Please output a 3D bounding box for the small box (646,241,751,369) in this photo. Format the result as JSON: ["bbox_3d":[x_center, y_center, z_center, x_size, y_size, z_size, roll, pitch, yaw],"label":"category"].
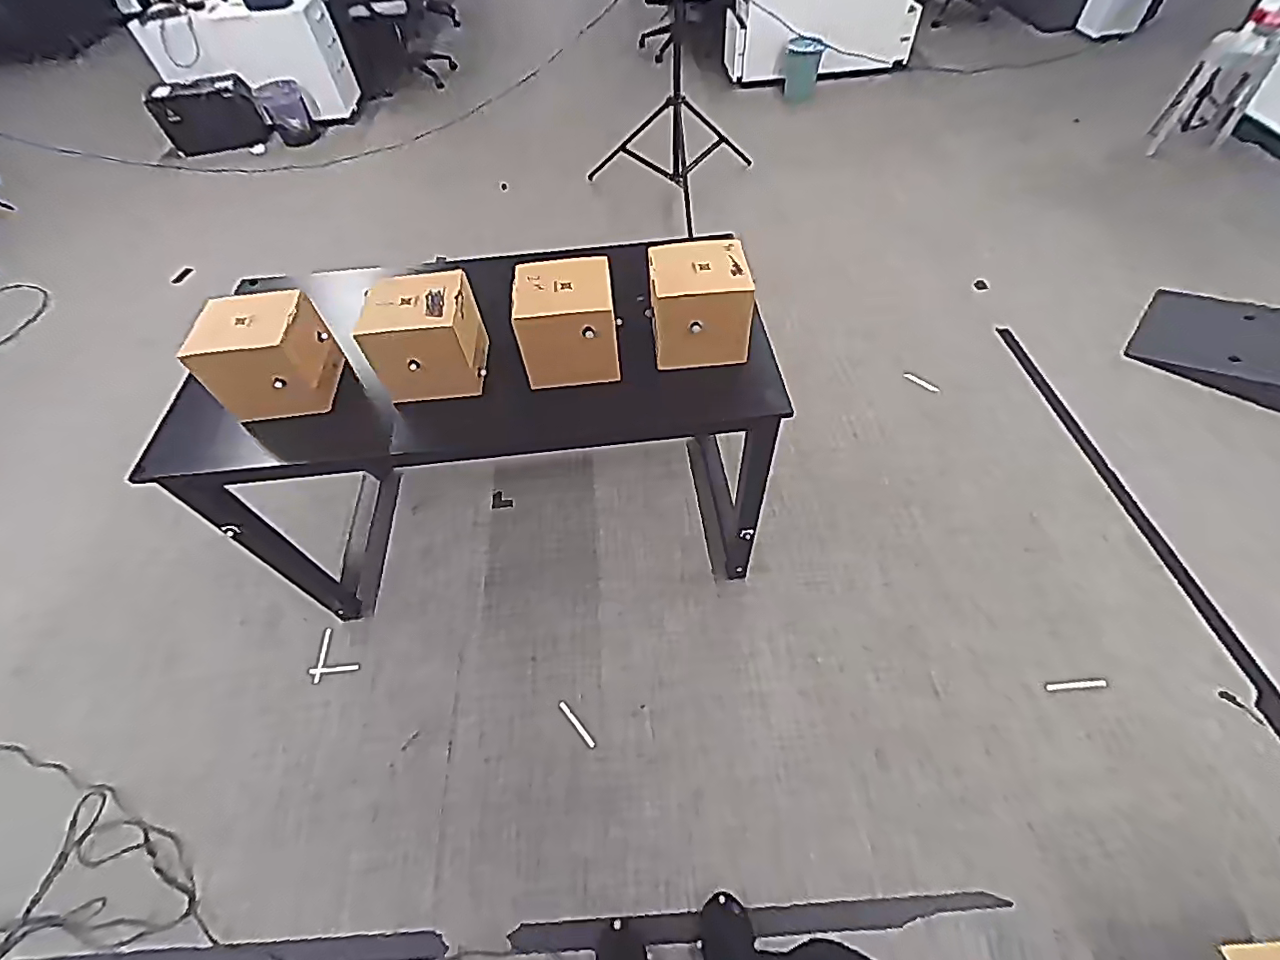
[{"bbox_3d":[0.109,-0.332,1.045,0.179,0.176,0.168,-6,54,1],"label":"small box"}]

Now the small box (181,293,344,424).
[{"bbox_3d":[-0.698,-0.227,1.028,0.179,0.176,0.168,-8,53,-1],"label":"small box"}]

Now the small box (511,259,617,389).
[{"bbox_3d":[-0.137,-0.295,1.036,0.179,0.176,0.168,-6,54,0],"label":"small box"}]

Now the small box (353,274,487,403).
[{"bbox_3d":[-0.405,-0.266,1.034,0.179,0.176,0.168,-6,54,1],"label":"small box"}]
